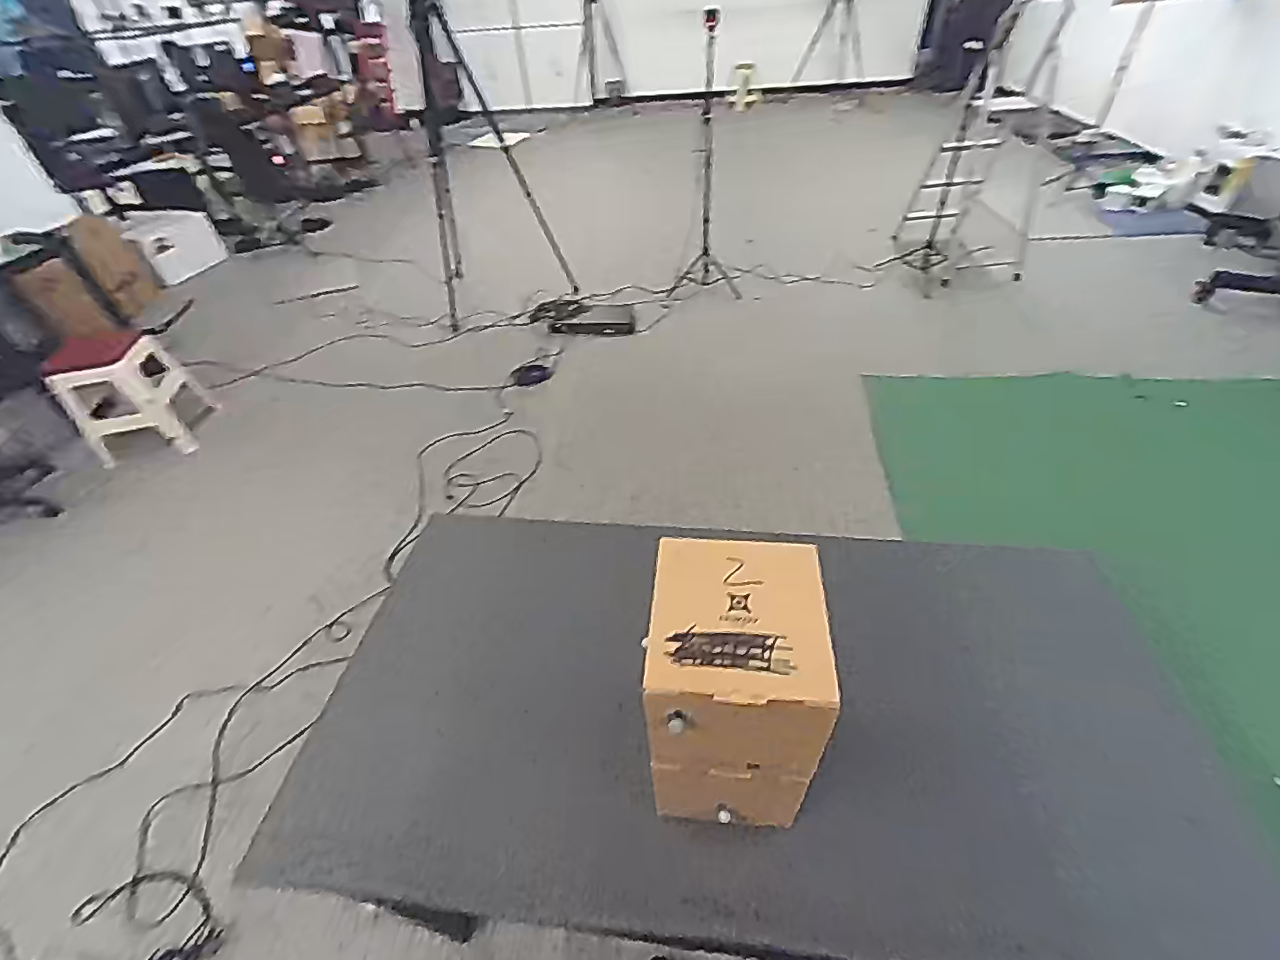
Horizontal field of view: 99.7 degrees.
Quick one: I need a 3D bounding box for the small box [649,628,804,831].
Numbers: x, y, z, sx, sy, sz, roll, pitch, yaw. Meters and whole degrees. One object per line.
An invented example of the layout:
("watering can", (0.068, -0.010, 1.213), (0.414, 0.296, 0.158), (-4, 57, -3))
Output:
("small box", (0.102, 0.311, 0.681), (0.168, 0.176, 0.179), (2, 43, 6))
